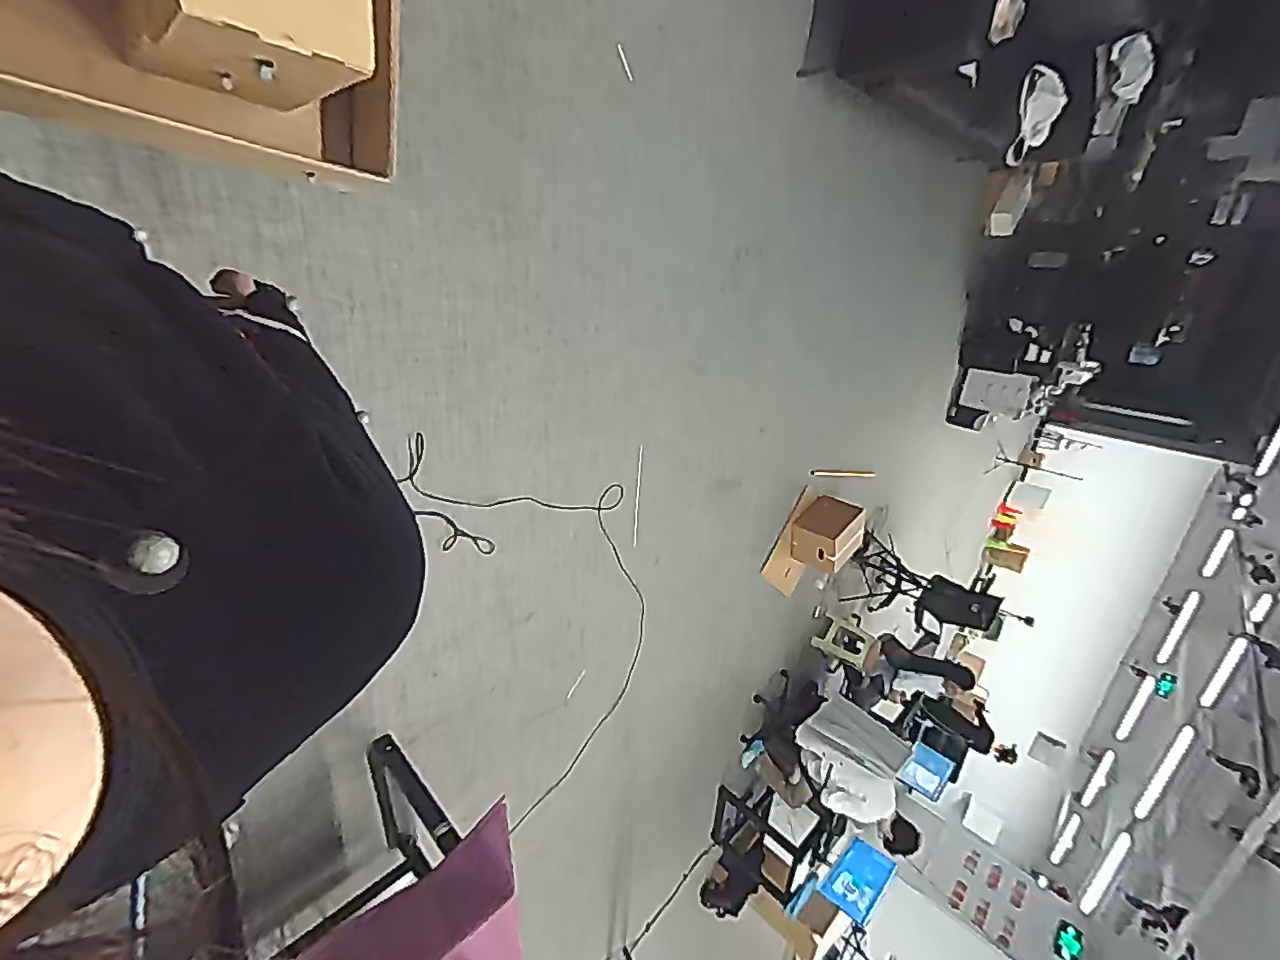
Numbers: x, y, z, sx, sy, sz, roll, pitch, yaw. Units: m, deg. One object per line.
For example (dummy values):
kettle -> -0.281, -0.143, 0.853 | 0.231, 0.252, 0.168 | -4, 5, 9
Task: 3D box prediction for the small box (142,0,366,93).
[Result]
small box -> -0.398, -0.526, 0.552 | 0.168, 0.176, 0.179 | -13, 119, -45
